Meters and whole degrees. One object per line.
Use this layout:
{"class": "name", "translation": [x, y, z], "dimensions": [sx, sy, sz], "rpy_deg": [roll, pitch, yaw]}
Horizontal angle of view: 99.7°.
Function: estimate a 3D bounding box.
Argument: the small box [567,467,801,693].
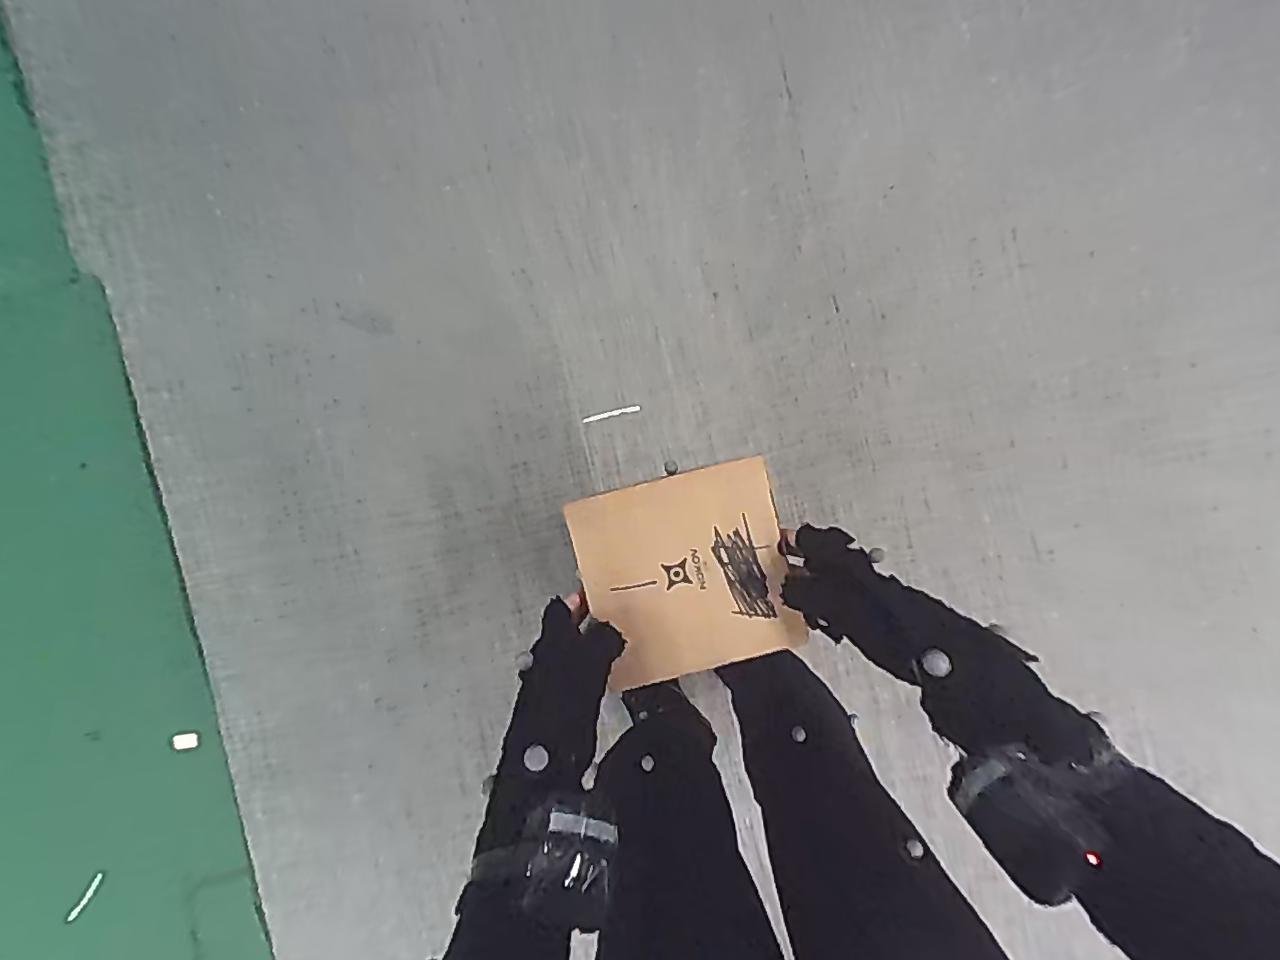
{"class": "small box", "translation": [0.037, 0.085, 0.544], "dimensions": [0.179, 0.176, 0.168], "rpy_deg": [-14, 89, 0]}
